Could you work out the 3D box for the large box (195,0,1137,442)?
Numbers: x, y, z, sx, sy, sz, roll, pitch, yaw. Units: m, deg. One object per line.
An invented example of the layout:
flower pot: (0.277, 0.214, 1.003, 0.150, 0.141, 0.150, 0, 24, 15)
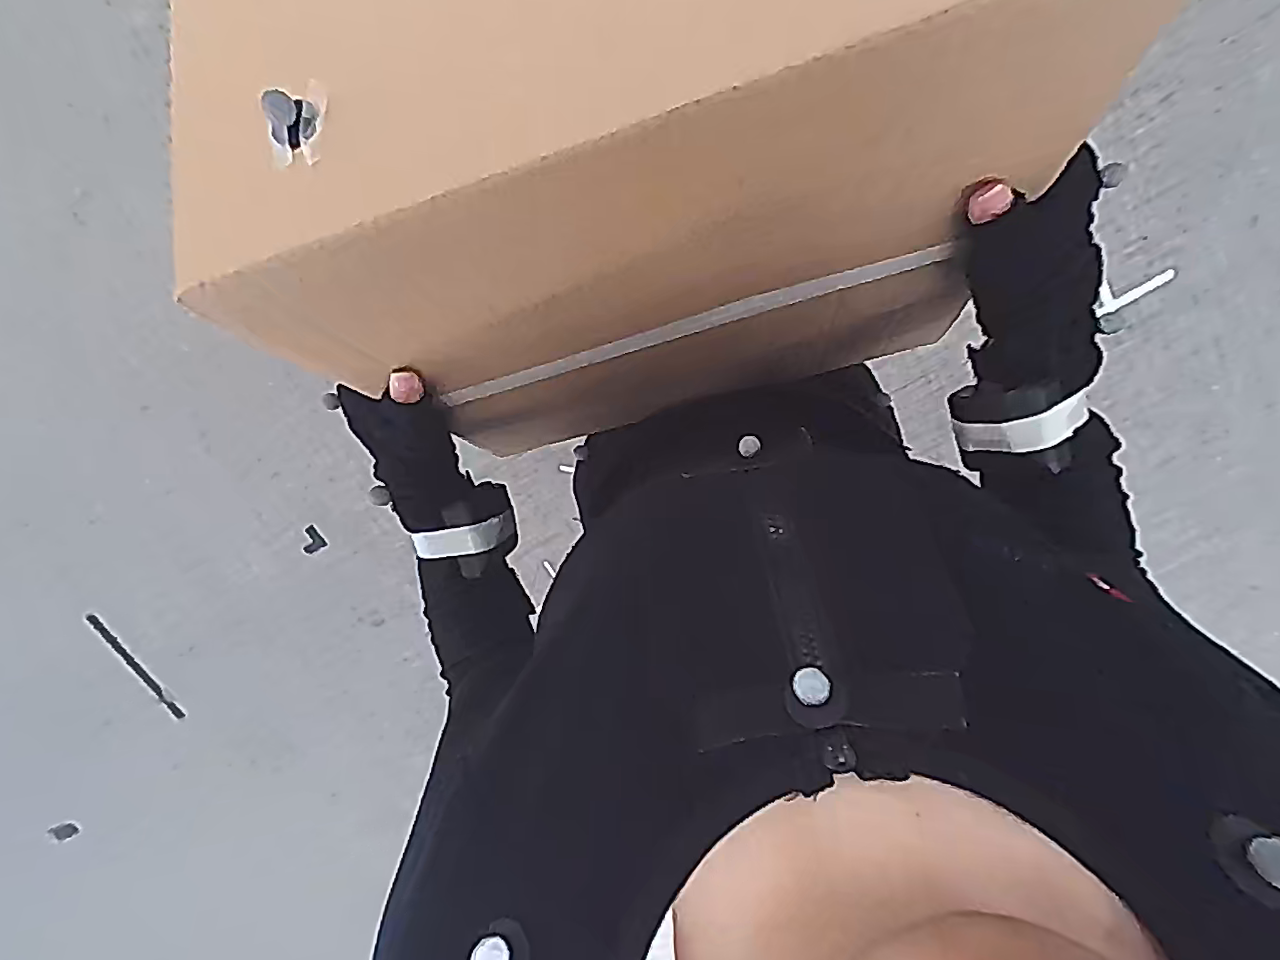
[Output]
large box: (-0.008, -0.255, 0.384, 0.408, 0.320, 0.320, -13, 77, 9)
